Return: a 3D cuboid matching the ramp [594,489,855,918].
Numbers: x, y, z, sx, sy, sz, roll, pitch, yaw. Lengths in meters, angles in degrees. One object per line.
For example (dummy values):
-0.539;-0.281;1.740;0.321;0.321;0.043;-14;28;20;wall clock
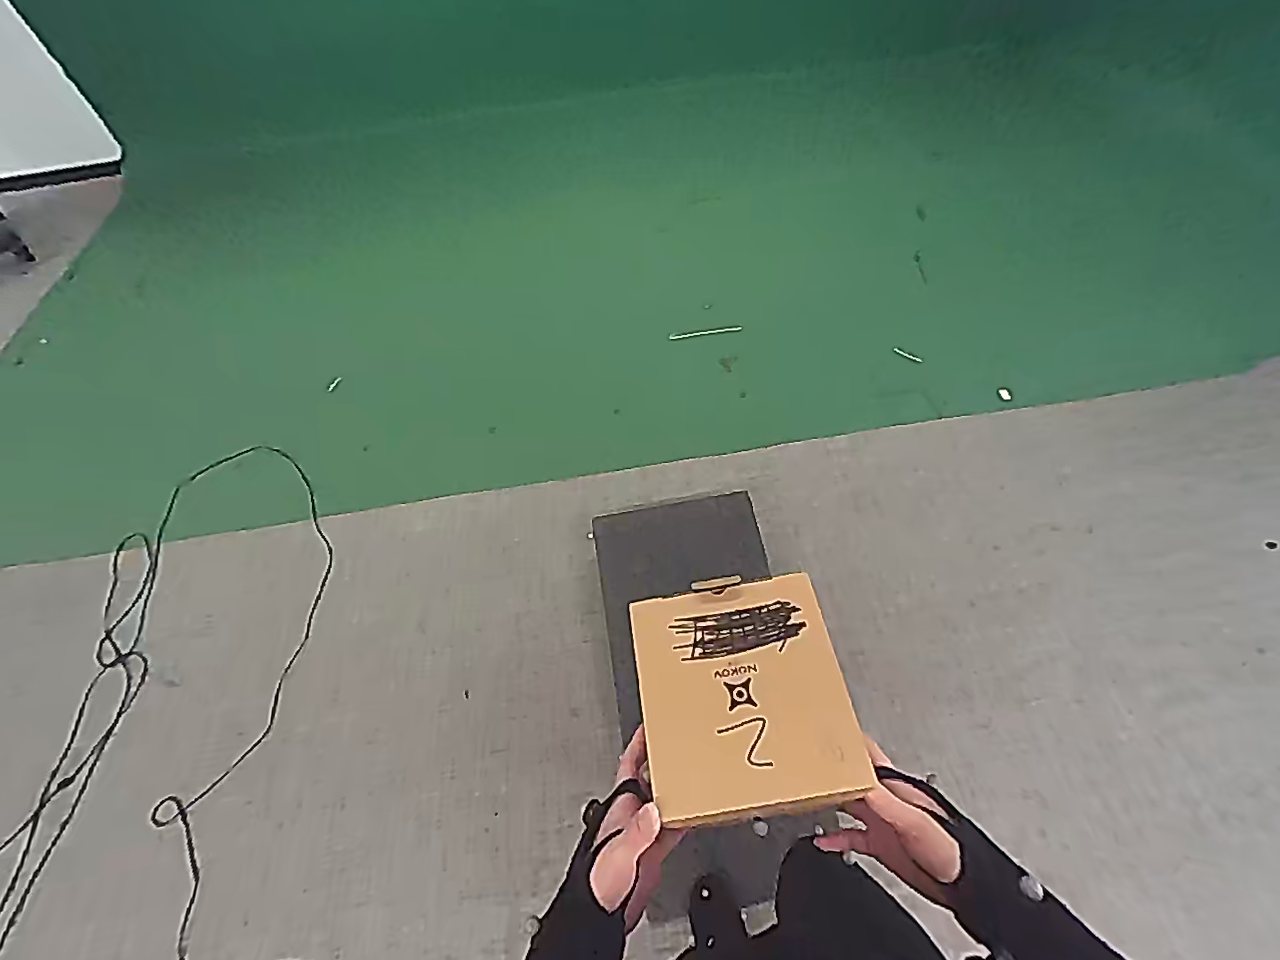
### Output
0.183;0.515;1.444;0.509;0.206;0.991;-11;56;-3;ramp
